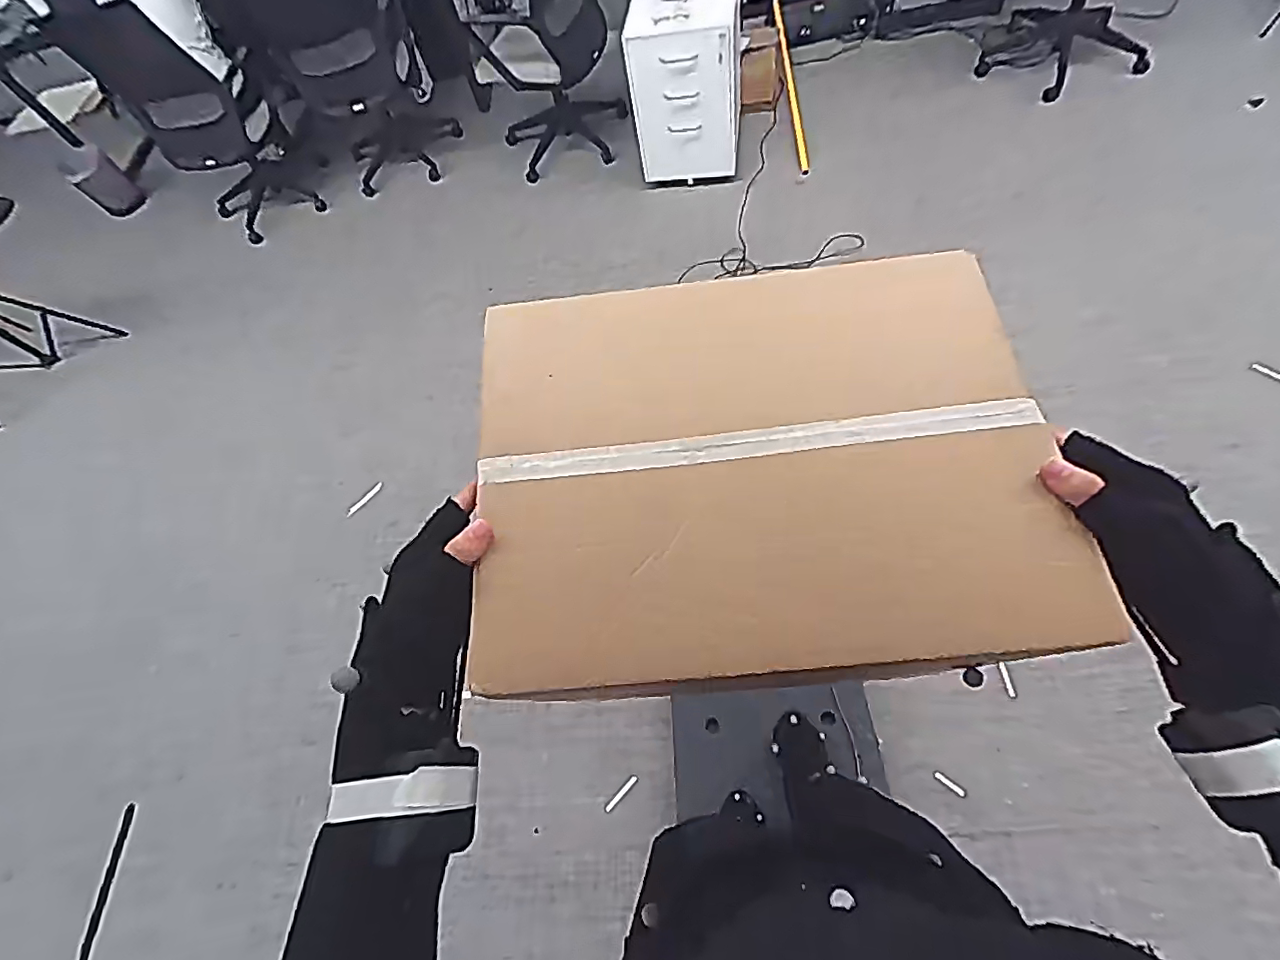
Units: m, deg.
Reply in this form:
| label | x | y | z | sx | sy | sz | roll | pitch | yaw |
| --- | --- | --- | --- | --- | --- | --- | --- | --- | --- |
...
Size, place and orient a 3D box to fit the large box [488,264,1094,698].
| label | x | y | z | sx | sy | sz | roll | pitch | yaw |
| --- | --- | --- | --- | --- | --- | --- | --- | --- | --- |
| large box | 0.096 | 0.036 | 0.545 | 0.408 | 0.320 | 0.320 | -6 | 66 | 3 |
